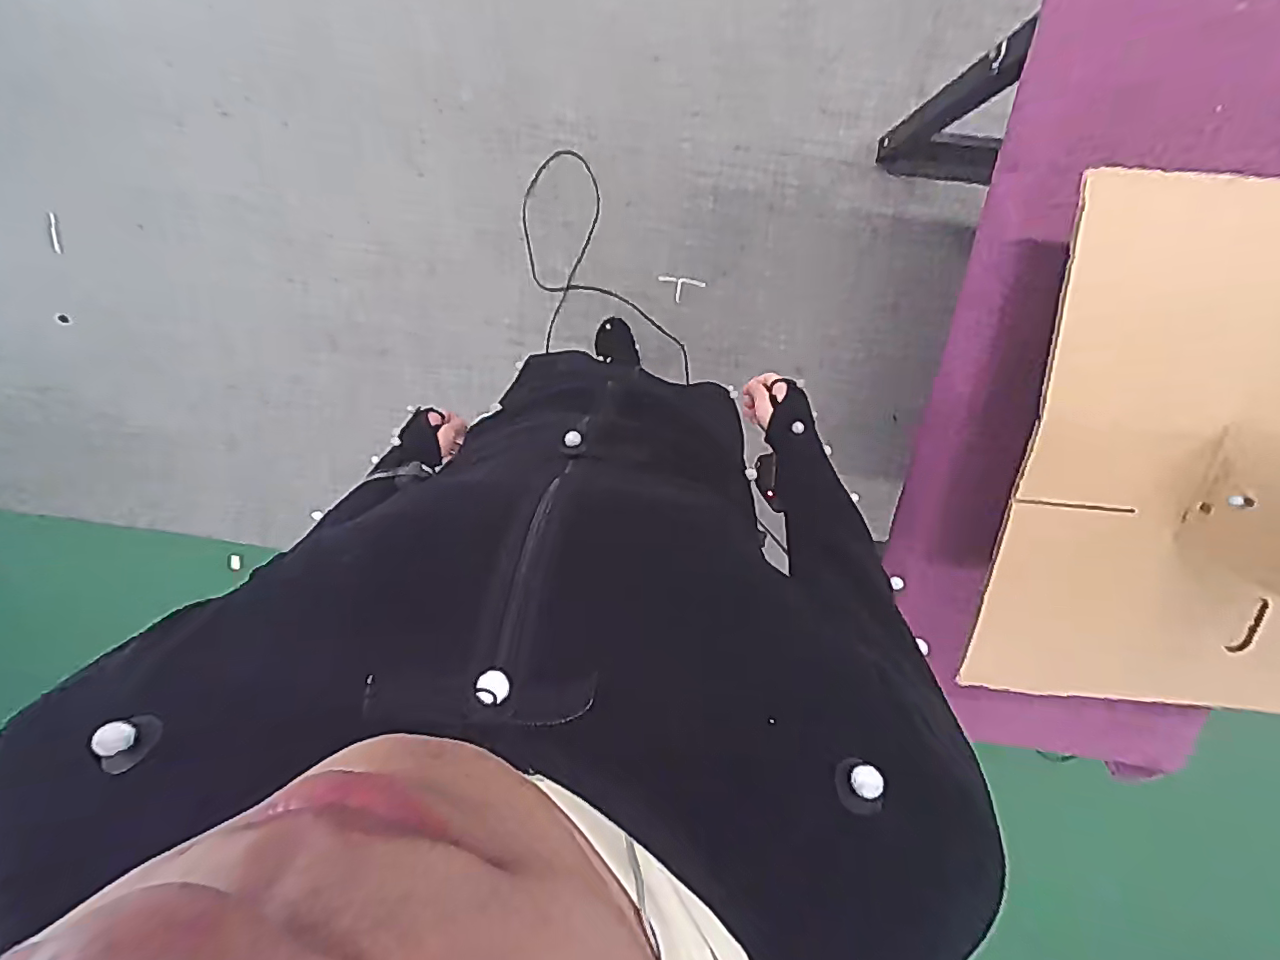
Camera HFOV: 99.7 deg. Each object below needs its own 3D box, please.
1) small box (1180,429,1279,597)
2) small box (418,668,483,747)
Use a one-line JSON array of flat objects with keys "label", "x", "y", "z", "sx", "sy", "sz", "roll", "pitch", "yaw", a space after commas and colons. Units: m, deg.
[{"label": "small box", "x": 0.793, "y": 0.046, "z": 0.606, "sx": 0.179, "sy": 0.176, "sz": 0.168, "roll": 6, "pitch": 109, "yaw": 0}, {"label": "small box", "x": -0.637, "y": 0.769, "z": 1.821, "sx": 0.168, "sy": 0.176, "sz": 0.179, "roll": 10, "pitch": 107, "yaw": -1}]
